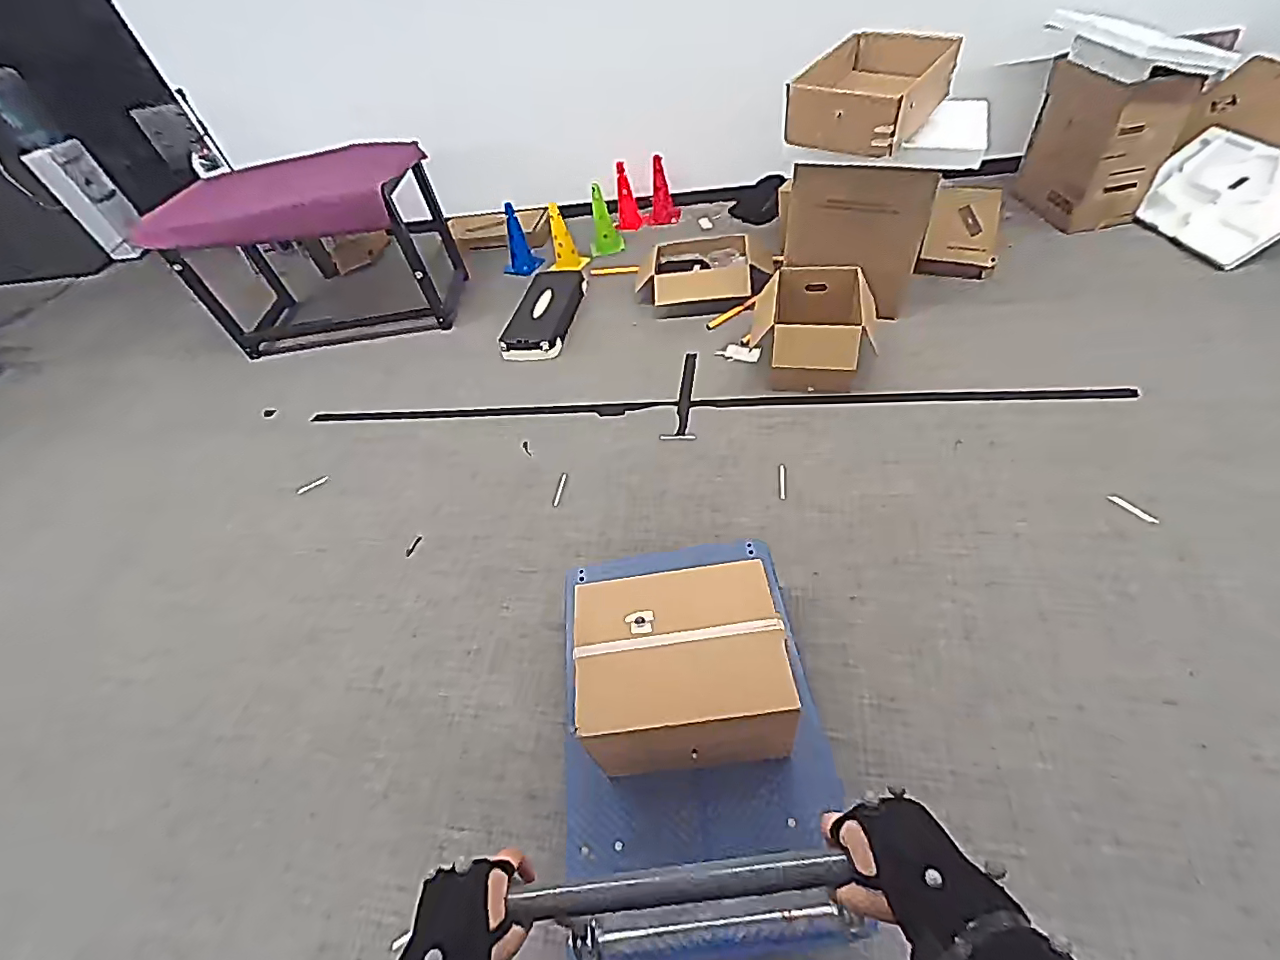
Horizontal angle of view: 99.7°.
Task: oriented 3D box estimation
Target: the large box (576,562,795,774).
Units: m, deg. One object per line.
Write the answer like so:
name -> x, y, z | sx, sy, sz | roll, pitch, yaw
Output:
large box -> 0.095, 0.419, 1.185 | 0.408, 0.320, 0.320 | -10, 47, 4
